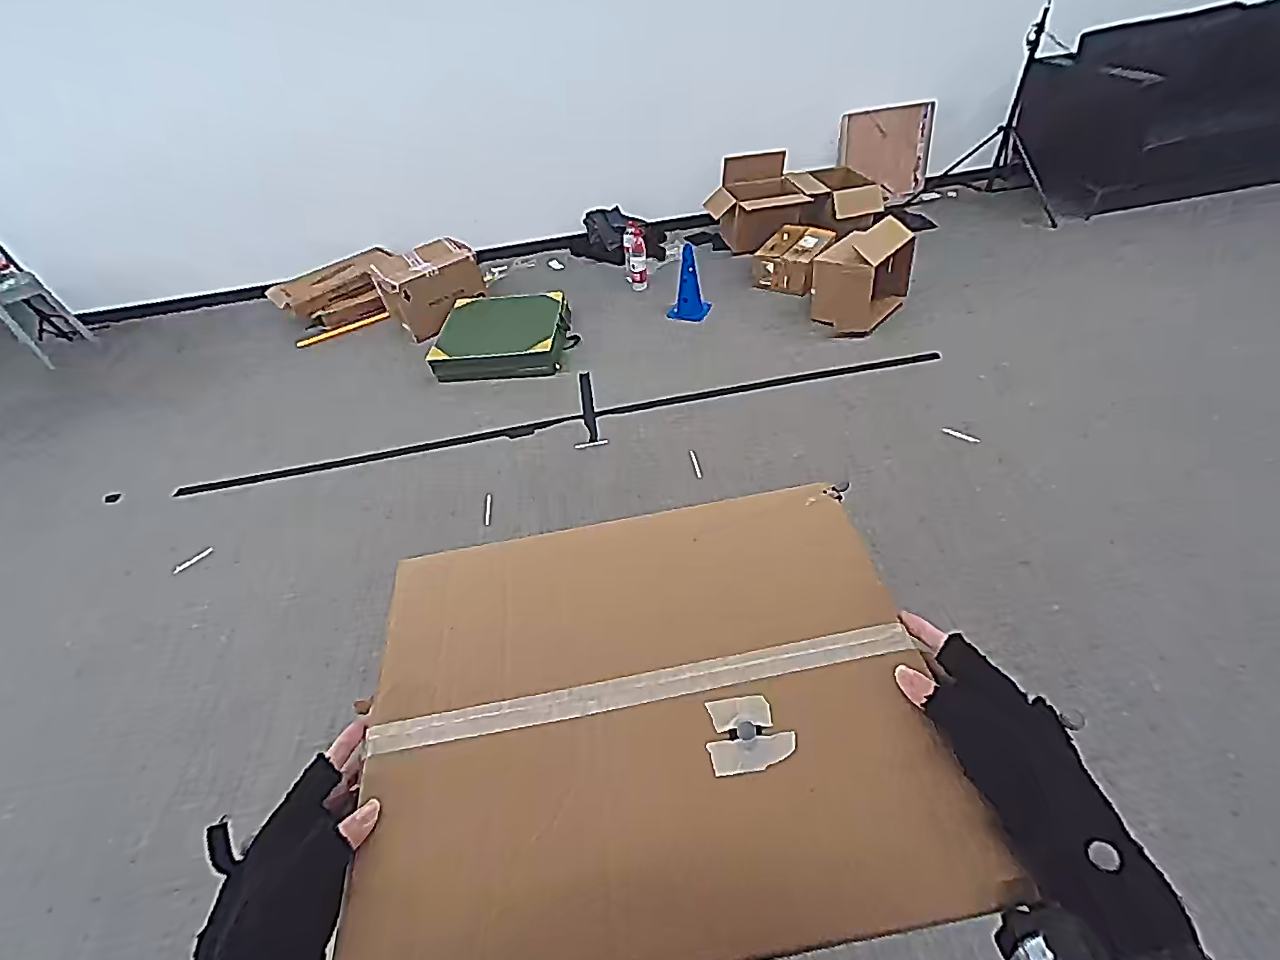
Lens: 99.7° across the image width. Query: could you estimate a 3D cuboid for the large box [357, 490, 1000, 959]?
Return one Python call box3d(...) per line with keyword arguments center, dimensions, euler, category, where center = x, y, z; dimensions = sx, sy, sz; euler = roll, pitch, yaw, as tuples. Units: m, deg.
box3d(center=(0.015, 0.254, 0.527), dimensions=(0.408, 0.320, 0.320), euler=(-10, 50, -2), category="large box")
